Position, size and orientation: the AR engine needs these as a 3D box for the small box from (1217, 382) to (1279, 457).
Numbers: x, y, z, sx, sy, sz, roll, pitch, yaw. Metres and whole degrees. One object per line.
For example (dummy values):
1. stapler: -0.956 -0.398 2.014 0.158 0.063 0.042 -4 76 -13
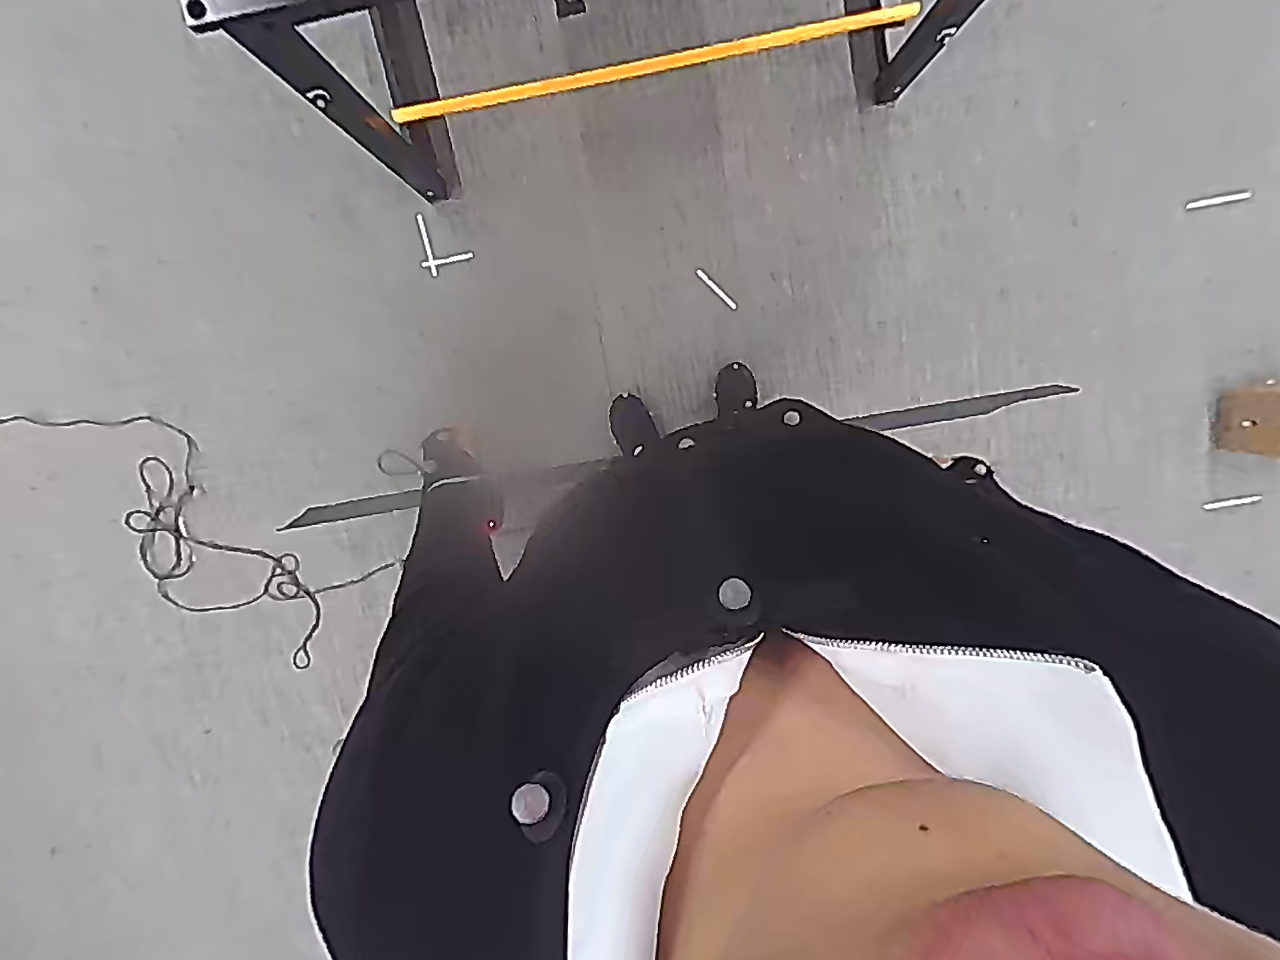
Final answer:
1. small box: 1.643 -0.157 1.382 0.179 0.176 0.168 -9 101 3
